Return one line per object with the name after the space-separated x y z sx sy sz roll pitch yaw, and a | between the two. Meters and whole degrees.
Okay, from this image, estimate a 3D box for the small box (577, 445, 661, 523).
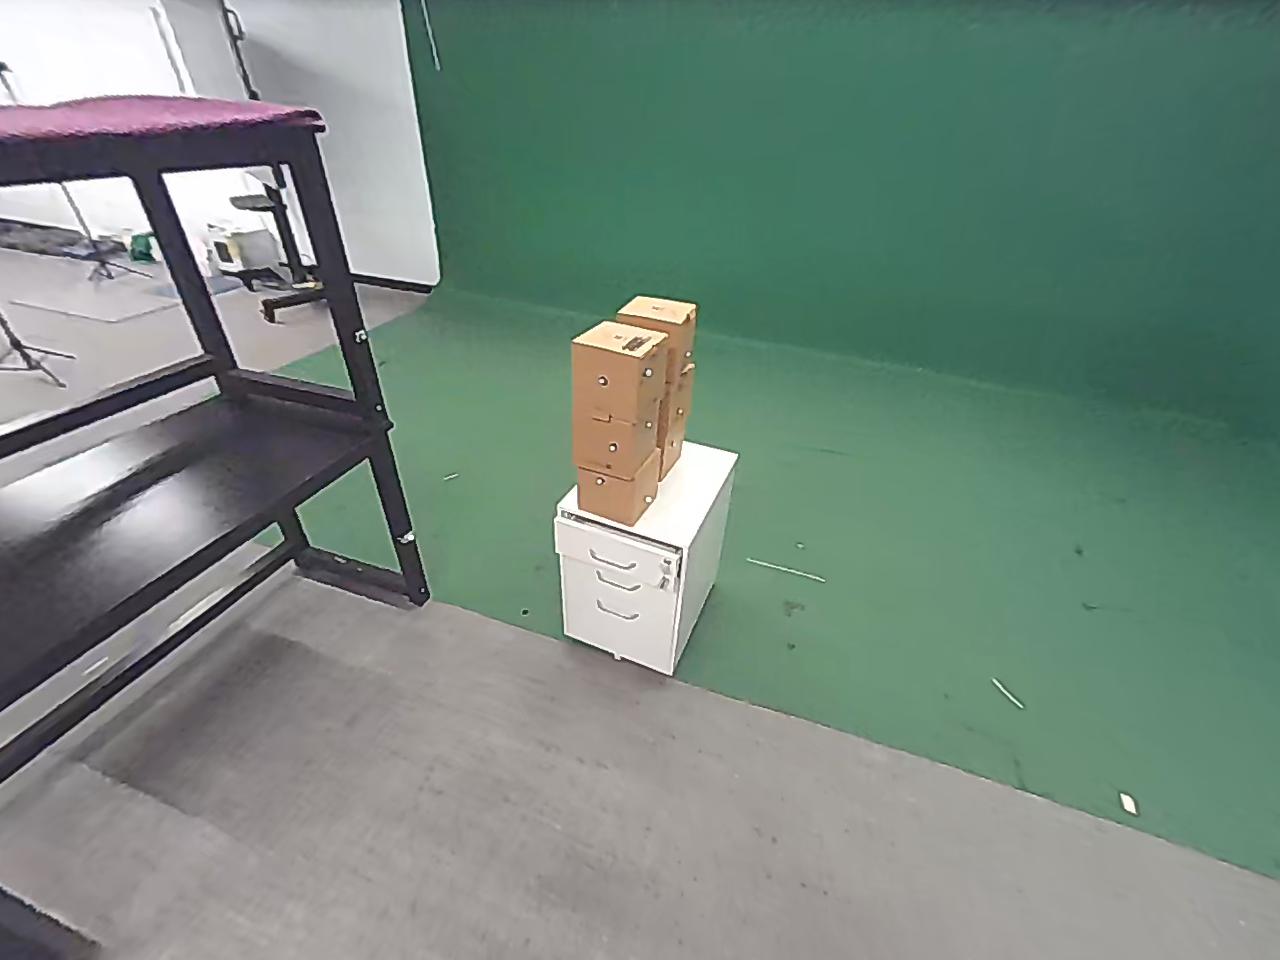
-0.059 -0.005 1.488 0.179 0.176 0.168 18 37 19 | small box

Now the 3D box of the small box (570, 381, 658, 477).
-0.064 -0.130 1.384 0.168 0.176 0.179 16 36 16 | small box

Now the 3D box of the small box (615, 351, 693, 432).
0.037 -0.257 1.576 0.179 0.176 0.168 19 38 19 | small box
